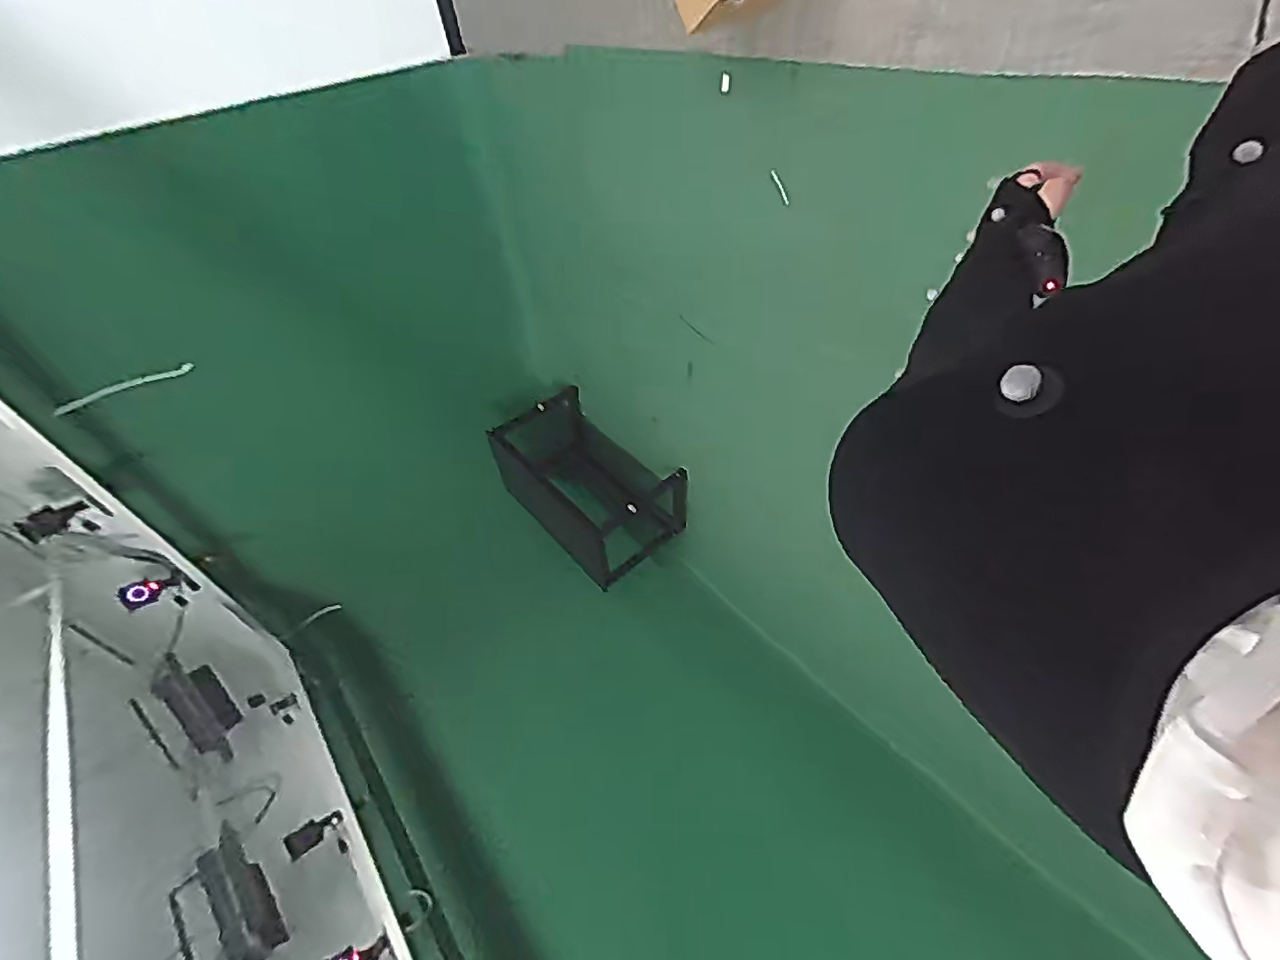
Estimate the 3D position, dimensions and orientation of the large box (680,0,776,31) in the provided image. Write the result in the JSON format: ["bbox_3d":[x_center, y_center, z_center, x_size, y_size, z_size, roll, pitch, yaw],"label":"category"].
[{"bbox_3d":[0.238,-1.443,1.322,0.320,0.320,0.408,4,126,61],"label":"large box"}]
